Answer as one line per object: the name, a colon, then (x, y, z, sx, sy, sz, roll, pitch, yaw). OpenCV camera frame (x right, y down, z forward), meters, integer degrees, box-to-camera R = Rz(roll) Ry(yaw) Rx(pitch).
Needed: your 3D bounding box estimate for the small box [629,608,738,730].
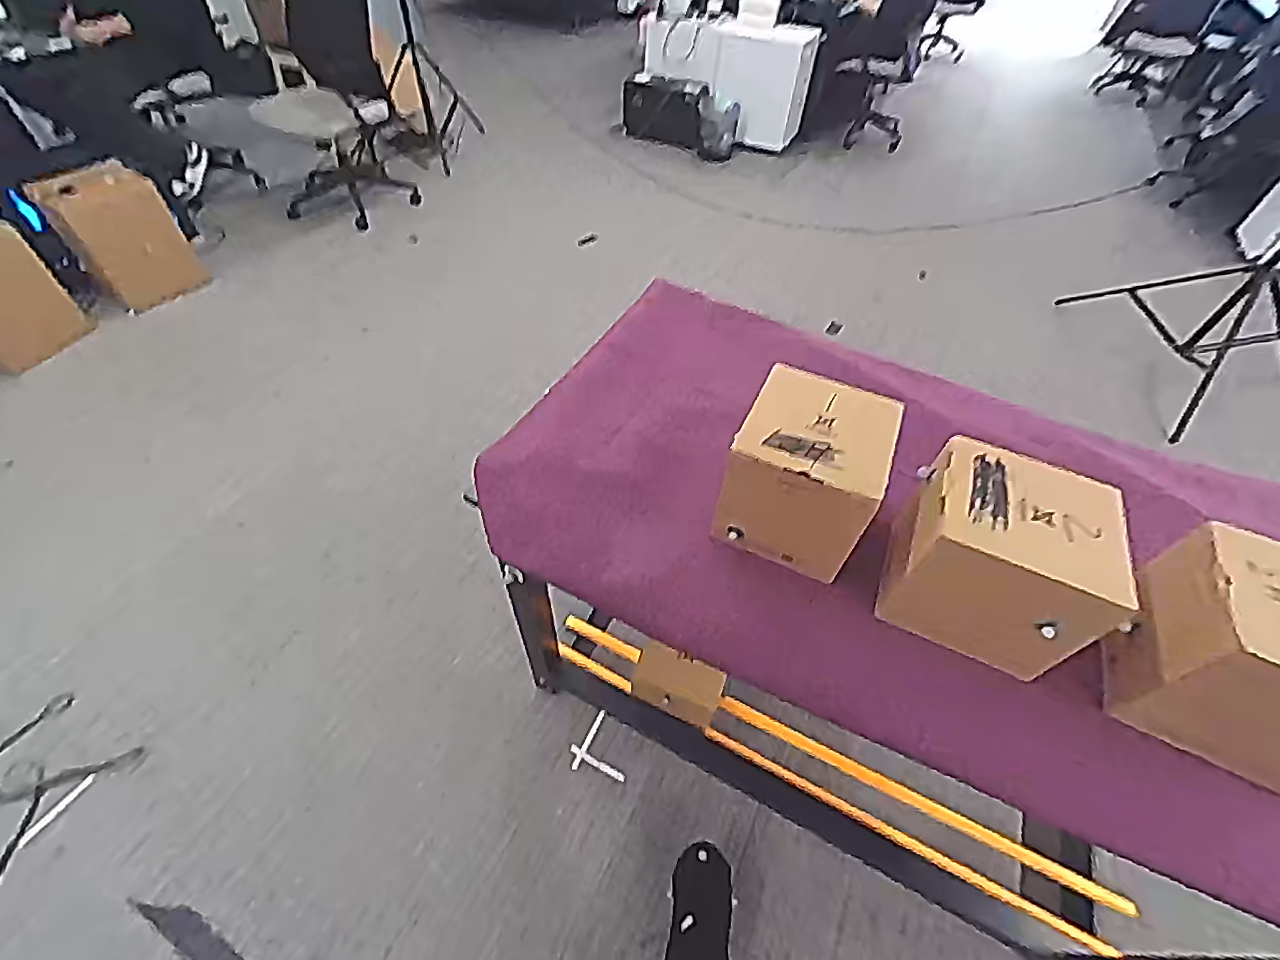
small box: (0.088, 0.405, 1.143, 0.179, 0.176, 0.168, 19, 53, 13)
